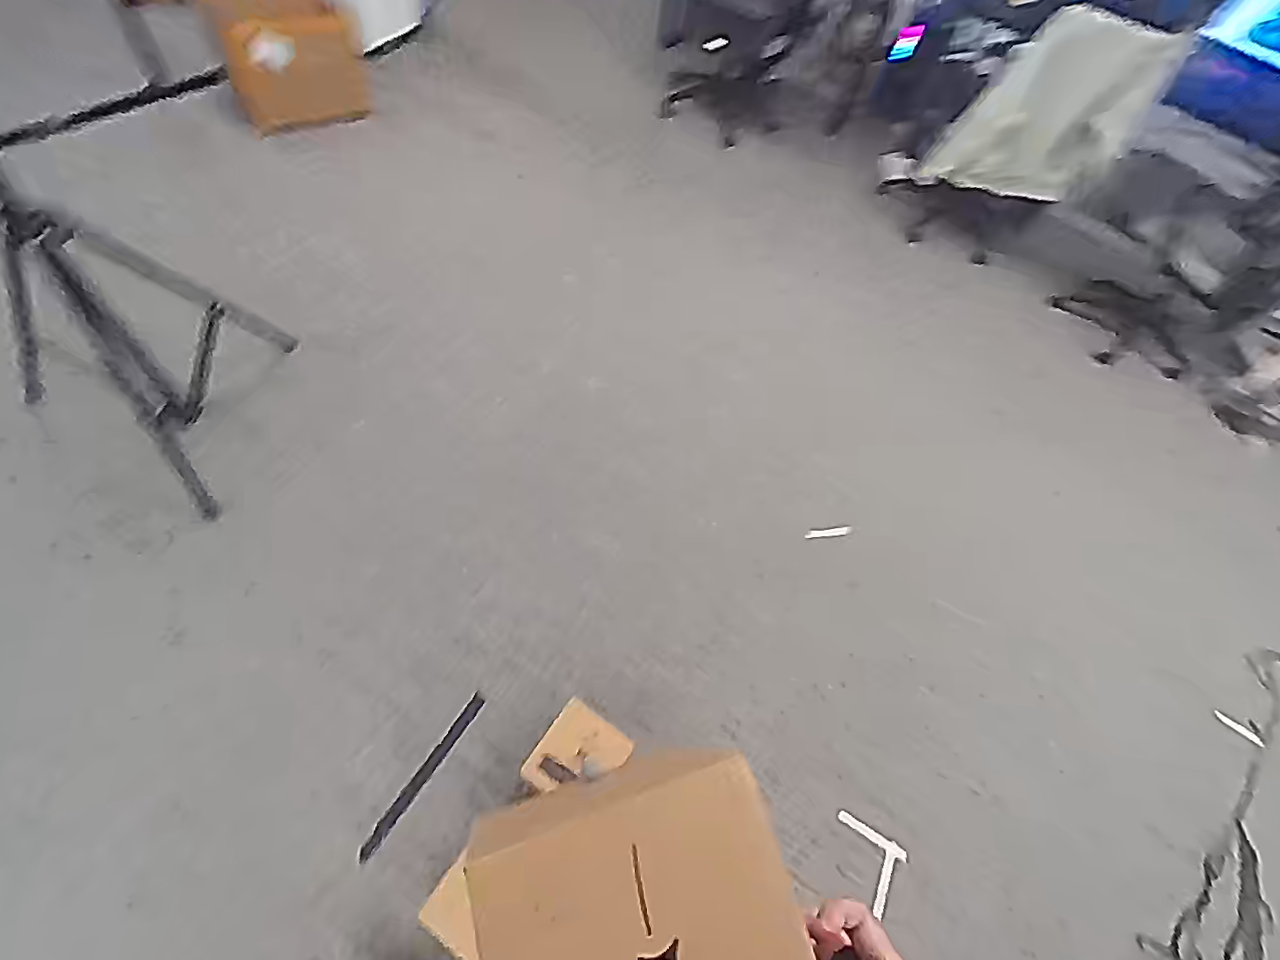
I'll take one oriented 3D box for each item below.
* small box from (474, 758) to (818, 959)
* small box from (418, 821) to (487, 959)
[{"bbox_3d":[-0.004,0.288,0.335,0.168,0.176,0.179,-8,66,-19],"label":"small box"},{"bbox_3d":[-0.282,0.774,1.011,0.179,0.176,0.168,35,58,9],"label":"small box"}]
